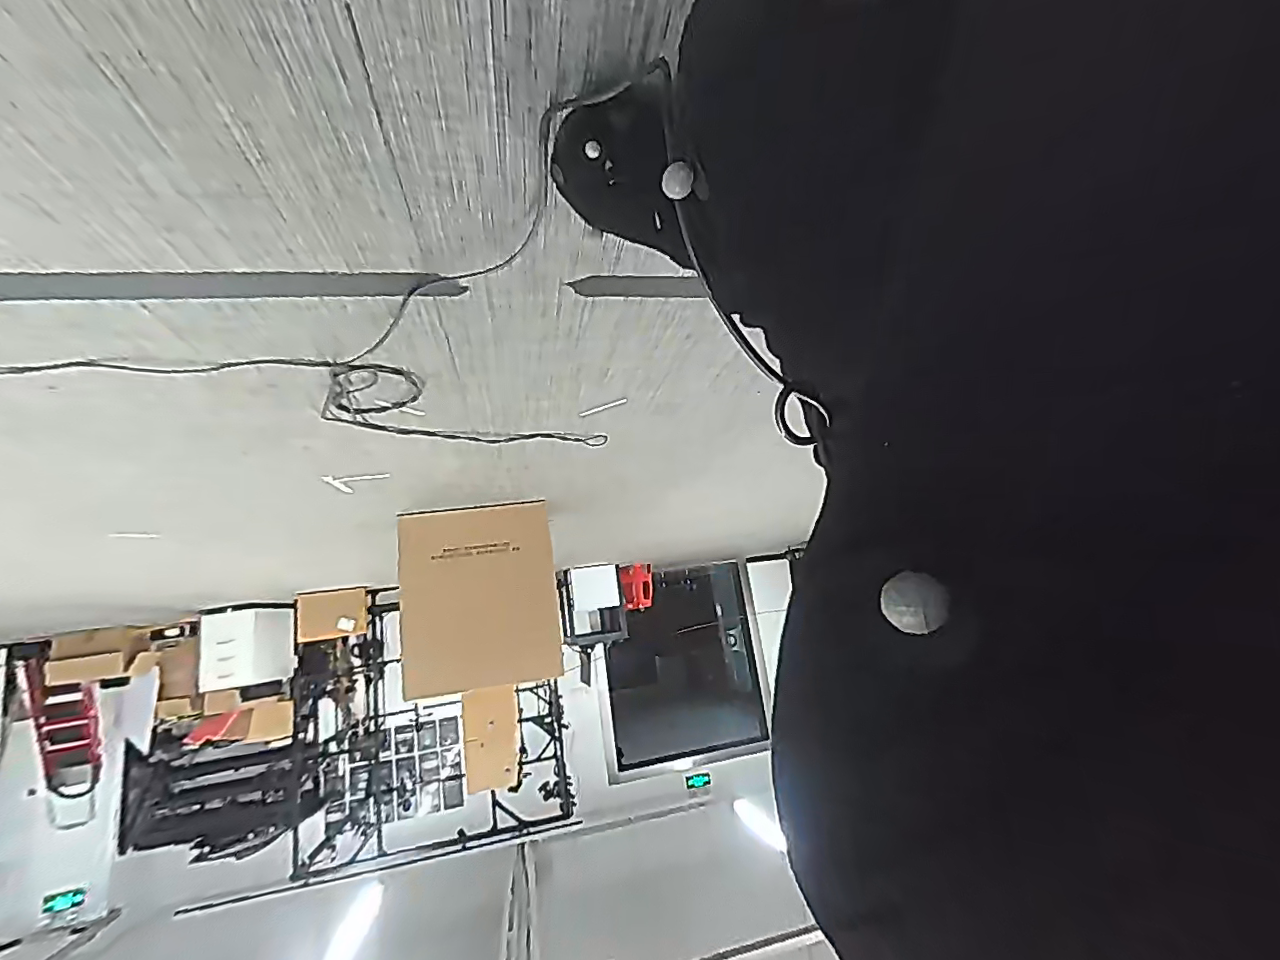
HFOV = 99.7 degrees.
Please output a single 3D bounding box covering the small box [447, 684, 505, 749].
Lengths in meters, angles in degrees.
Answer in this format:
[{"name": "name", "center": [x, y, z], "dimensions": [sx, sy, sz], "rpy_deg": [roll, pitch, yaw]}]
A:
[{"name": "small box", "center": [-0.582, 0.832, 1.919], "dimensions": [0.179, 0.176, 0.168], "rpy_deg": [-9, 167, -14]}]
